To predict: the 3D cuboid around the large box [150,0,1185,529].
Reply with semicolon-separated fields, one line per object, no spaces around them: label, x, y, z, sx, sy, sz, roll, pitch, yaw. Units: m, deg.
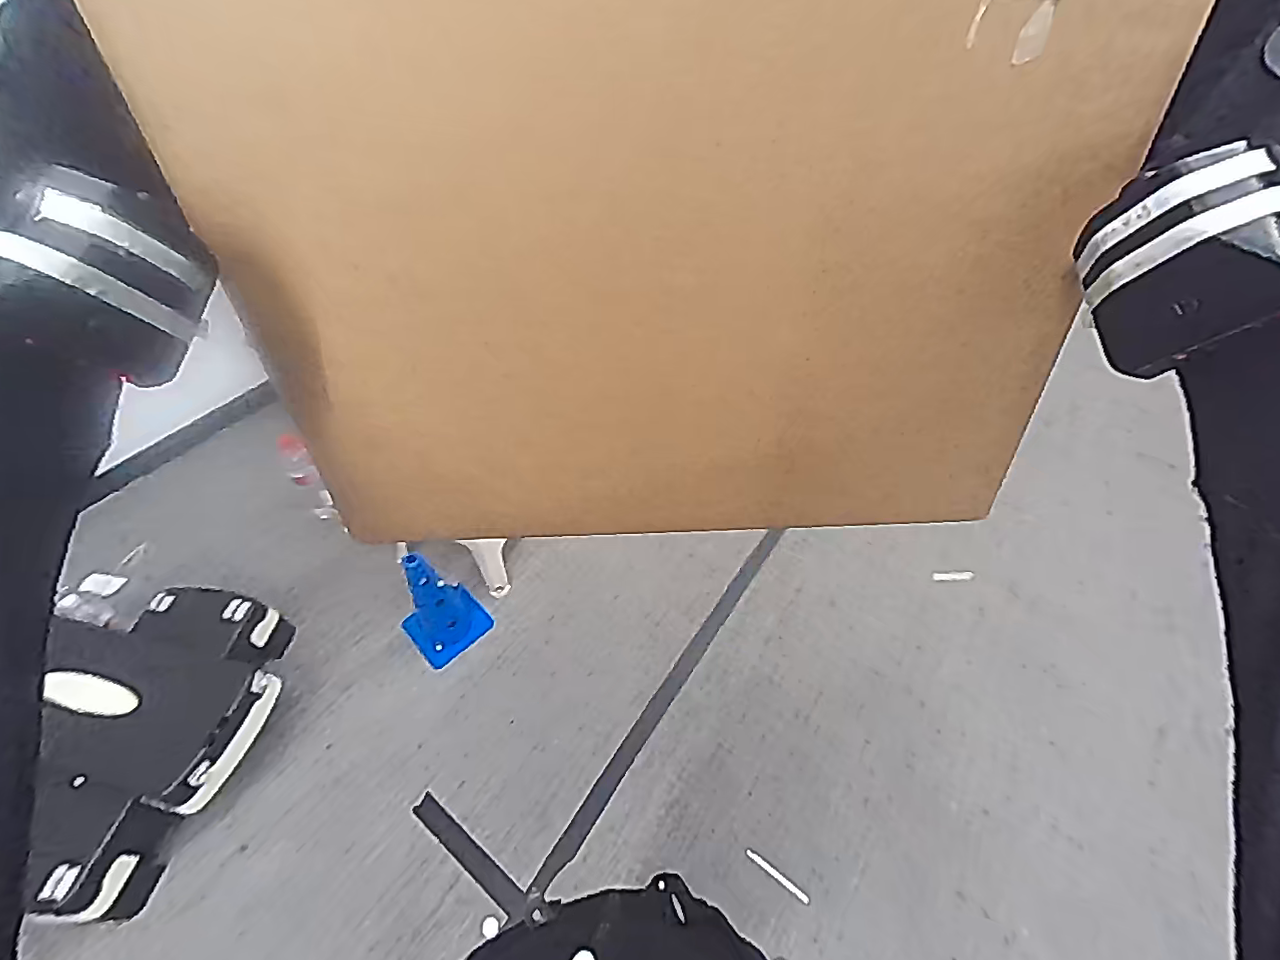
large box;0.013;-0.181;0.384;0.408;0.320;0.320;-1;37;1
